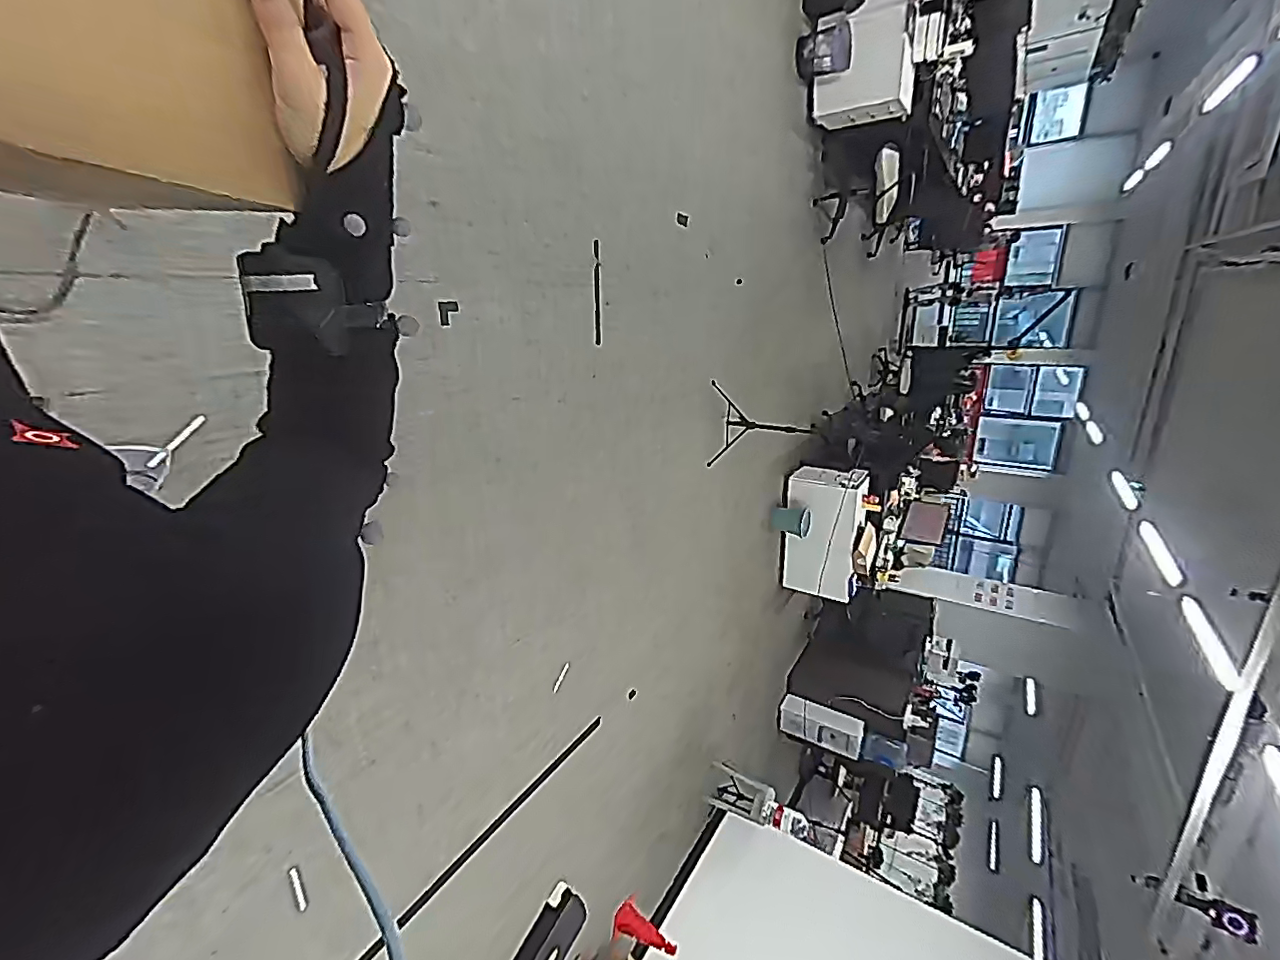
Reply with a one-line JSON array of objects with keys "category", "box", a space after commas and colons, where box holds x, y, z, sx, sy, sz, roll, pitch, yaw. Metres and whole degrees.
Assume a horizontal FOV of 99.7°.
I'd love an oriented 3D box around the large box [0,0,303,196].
[{"category": "large box", "box": [-0.418, -0.316, 0.191, 0.408, 0.320, 0.320, -21, 123, -59]}]
